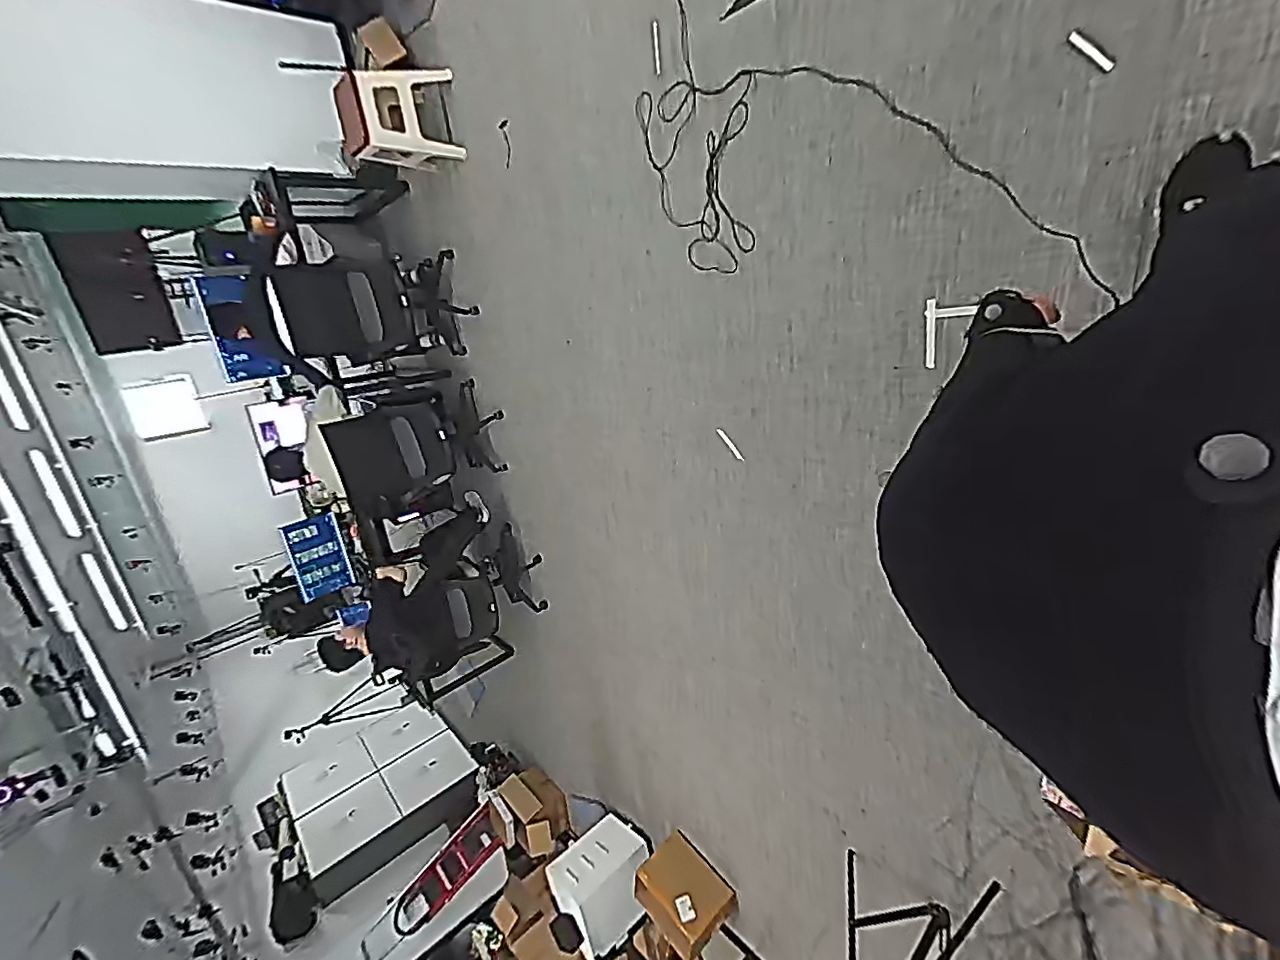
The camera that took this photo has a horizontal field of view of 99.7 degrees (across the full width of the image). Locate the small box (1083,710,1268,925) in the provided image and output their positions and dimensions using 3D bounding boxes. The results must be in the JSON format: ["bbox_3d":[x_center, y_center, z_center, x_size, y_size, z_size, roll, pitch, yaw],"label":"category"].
[{"bbox_3d":[0.807,0.493,0.818,0.168,0.176,0.179,15,115,46],"label":"small box"}]
